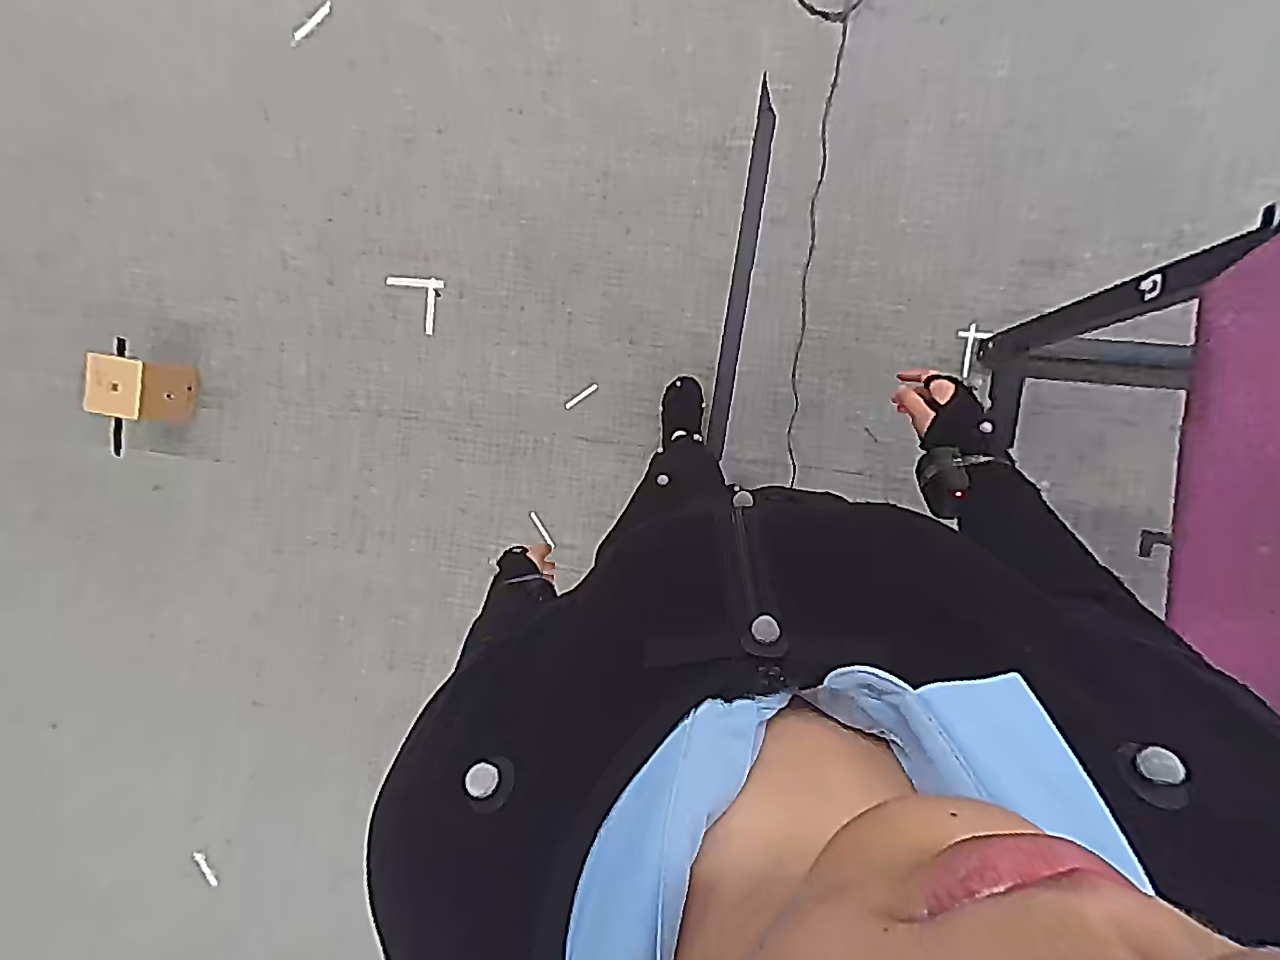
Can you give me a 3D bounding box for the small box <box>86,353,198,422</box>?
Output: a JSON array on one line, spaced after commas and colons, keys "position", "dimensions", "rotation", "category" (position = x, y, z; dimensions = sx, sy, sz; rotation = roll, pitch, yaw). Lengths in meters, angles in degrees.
[{"position": [-1.442, -0.263, 1.577], "dimensions": [0.179, 0.176, 0.168], "rotation": [10, 94, 6], "category": "small box"}]
